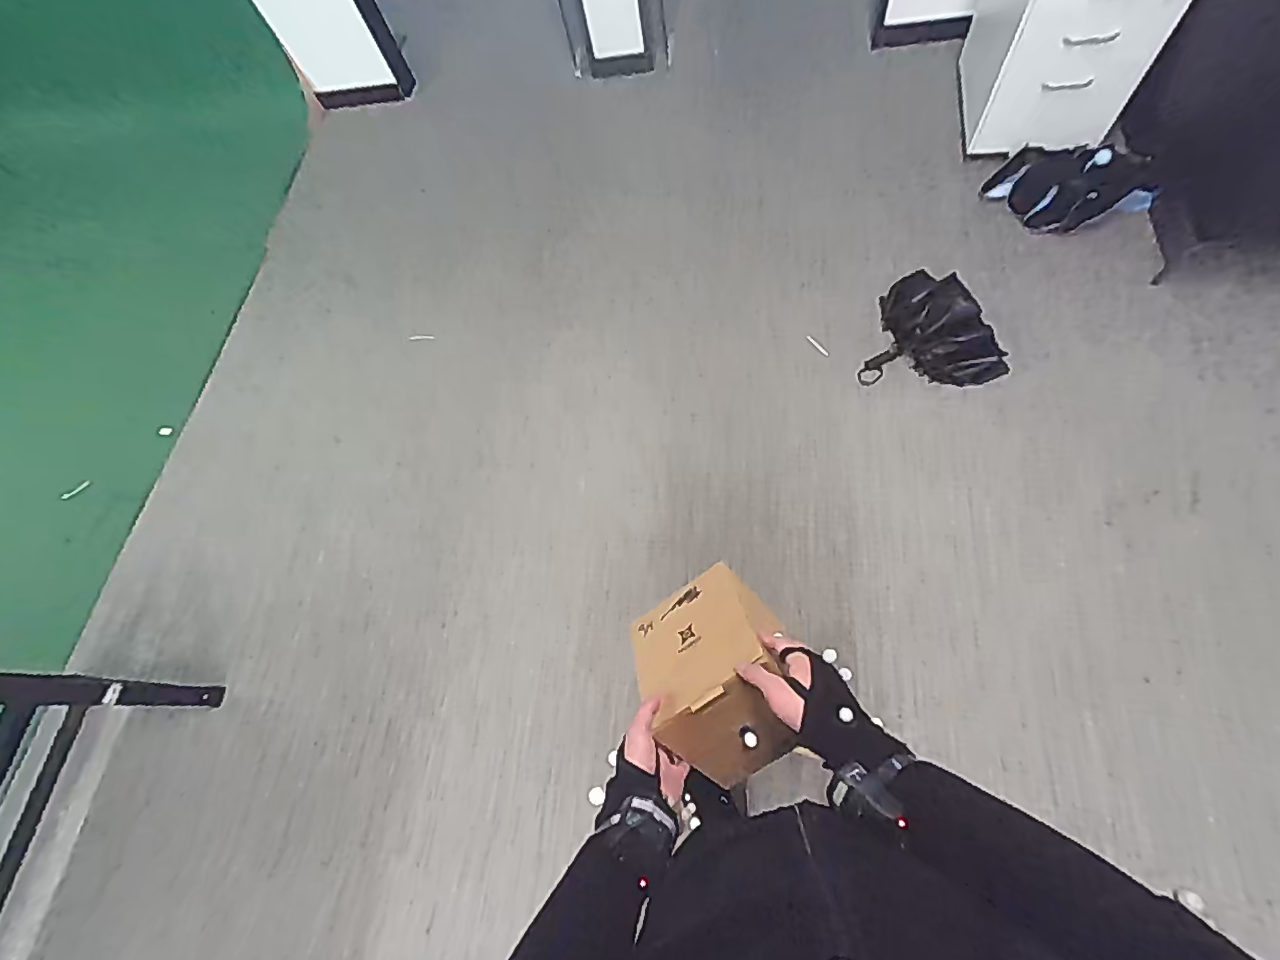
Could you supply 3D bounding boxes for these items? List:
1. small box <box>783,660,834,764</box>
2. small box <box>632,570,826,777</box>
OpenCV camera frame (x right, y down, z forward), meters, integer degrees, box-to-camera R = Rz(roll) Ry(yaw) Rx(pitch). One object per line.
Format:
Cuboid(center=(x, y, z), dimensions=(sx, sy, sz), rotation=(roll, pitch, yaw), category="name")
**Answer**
Cuboid(center=(0.298, 0.474, 1.145), dimensions=(0.168, 0.176, 0.179), rotation=(14, 70, 16), category="small box")
Cuboid(center=(0.113, 0.261, 0.716), dimensions=(0.168, 0.176, 0.179), rotation=(-37, 29, 11), category="small box")
